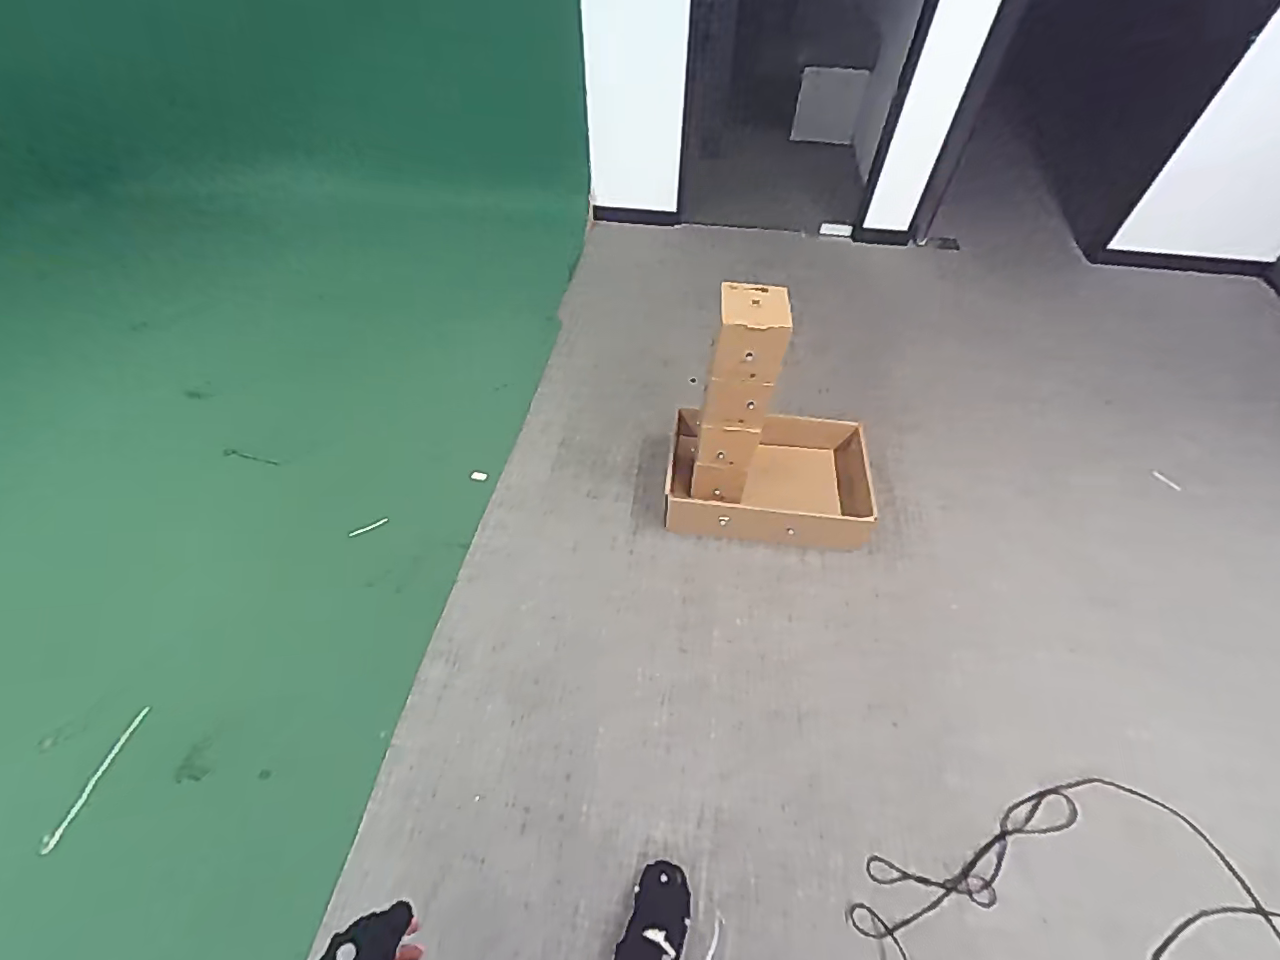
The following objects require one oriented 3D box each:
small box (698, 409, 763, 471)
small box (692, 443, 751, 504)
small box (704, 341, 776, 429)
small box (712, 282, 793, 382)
[{"bbox_3d":[0.265,-0.152,1.600,0.168,0.176,0.179,7,51,3],"label":"small box"},{"bbox_3d":[0.260,-0.048,1.725,0.168,0.176,0.179,8,51,4],"label":"small box"},{"bbox_3d":[0.269,-0.260,1.477,0.168,0.176,0.179,6,51,1],"label":"small box"},{"bbox_3d":[0.277,-0.365,1.352,0.168,0.176,0.179,7,52,1],"label":"small box"}]
